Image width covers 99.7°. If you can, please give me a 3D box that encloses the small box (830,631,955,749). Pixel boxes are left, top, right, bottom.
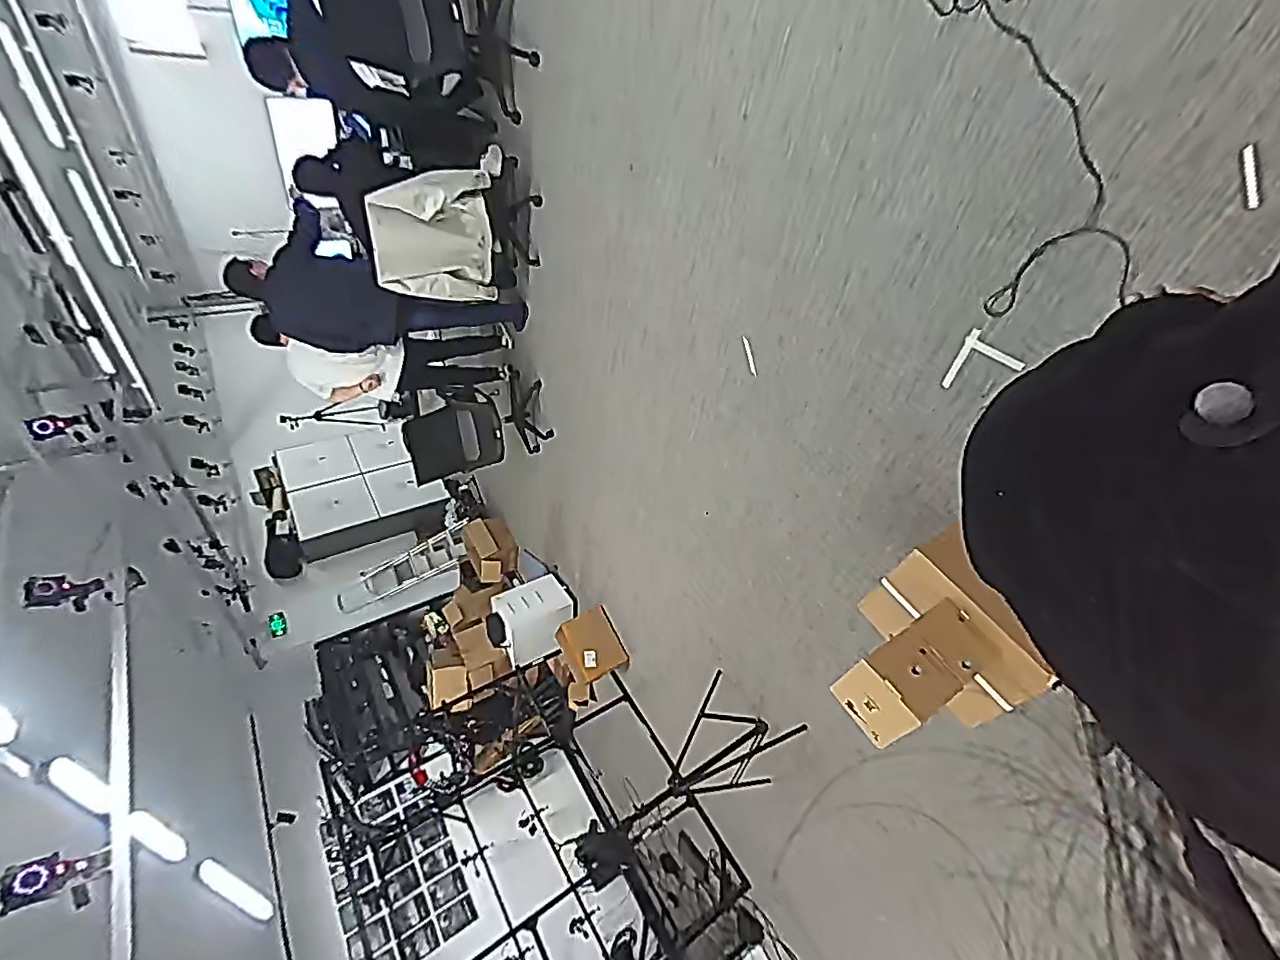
[{"bbox_3d":[0.585,0.479,1.248,0.168,0.176,0.179,52,145,30],"label":"small box"}]
